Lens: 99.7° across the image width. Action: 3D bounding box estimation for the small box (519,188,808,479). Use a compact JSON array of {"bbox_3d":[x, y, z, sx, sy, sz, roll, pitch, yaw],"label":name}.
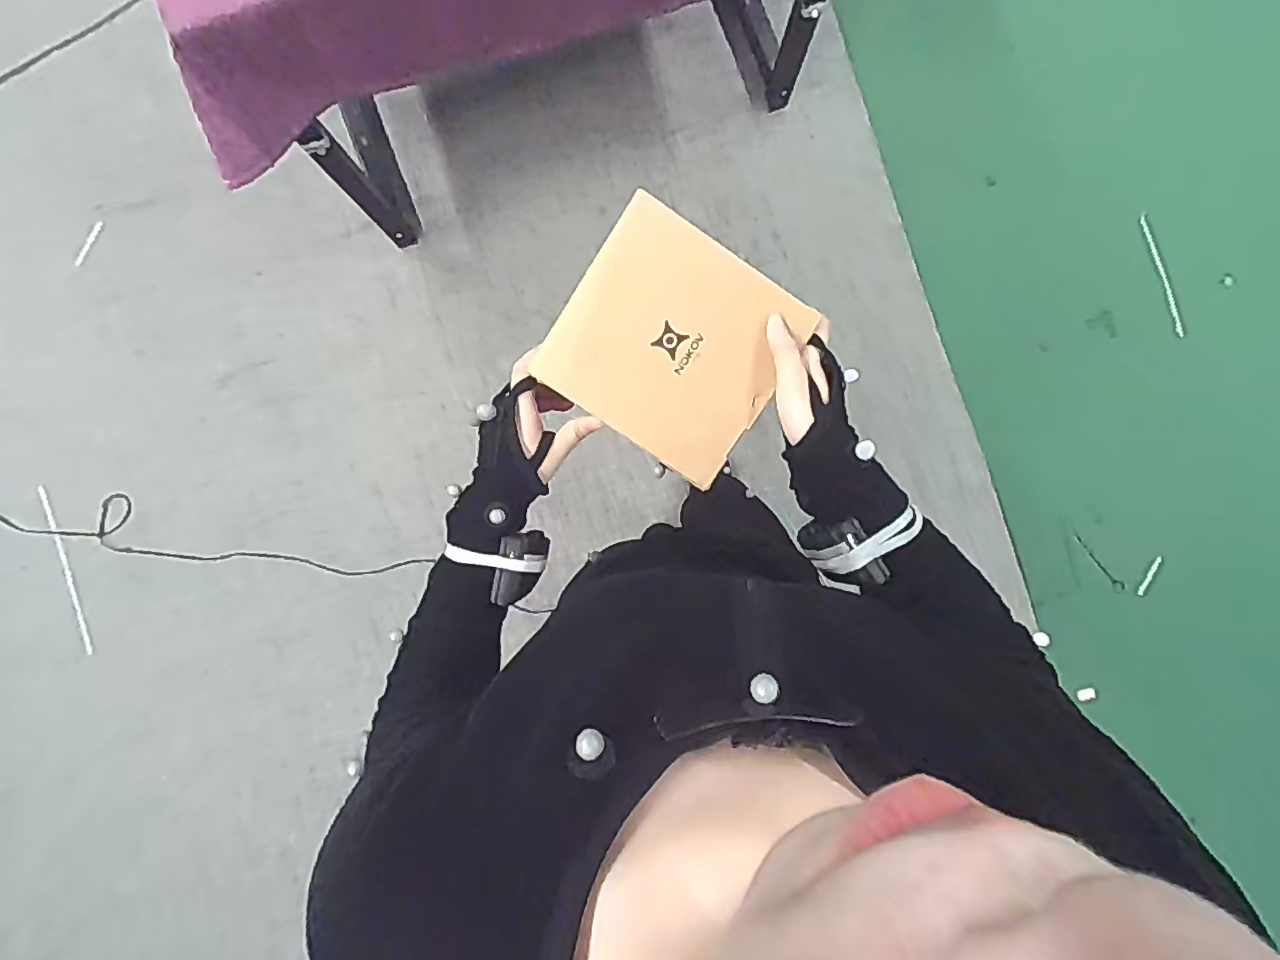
[{"bbox_3d":[0.015,-0.121,0.506,0.179,0.176,0.168,33,95,-7],"label":"small box"}]
